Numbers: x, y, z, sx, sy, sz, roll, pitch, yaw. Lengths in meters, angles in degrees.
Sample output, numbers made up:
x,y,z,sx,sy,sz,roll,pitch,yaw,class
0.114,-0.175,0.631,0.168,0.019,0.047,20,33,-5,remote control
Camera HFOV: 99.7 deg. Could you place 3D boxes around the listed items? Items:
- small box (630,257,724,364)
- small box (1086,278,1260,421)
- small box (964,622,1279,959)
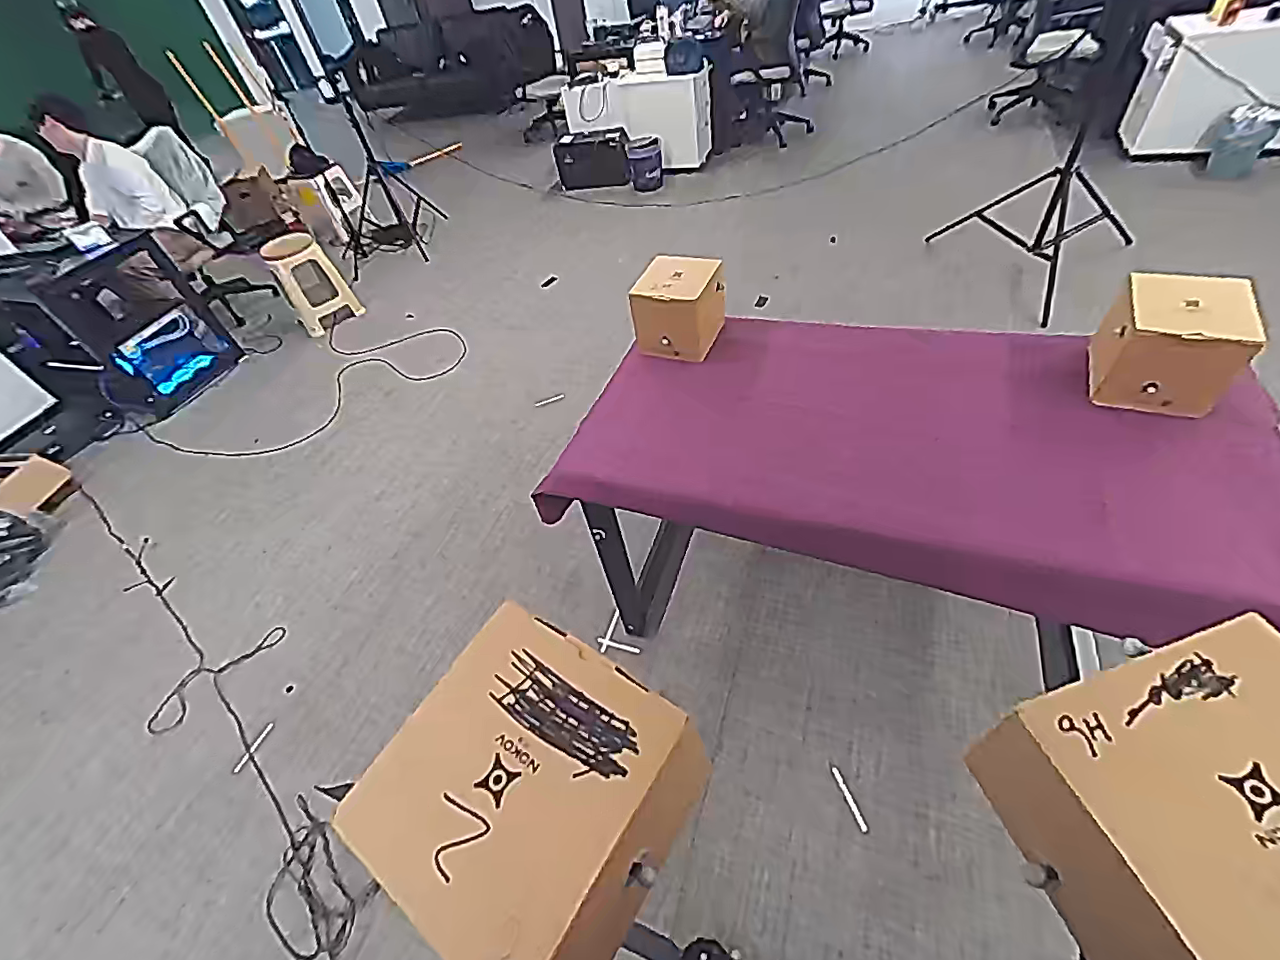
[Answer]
x,y,z,sx,sy,sz,roll,pitch,yaw,class
0.095,-0.404,1.288,0.168,0.176,0.179,14,54,22,small box
0.938,-0.235,0.974,0.168,0.176,0.179,14,56,22,small box
0.356,0.227,0.356,0.168,0.176,0.179,-22,52,1,small box
